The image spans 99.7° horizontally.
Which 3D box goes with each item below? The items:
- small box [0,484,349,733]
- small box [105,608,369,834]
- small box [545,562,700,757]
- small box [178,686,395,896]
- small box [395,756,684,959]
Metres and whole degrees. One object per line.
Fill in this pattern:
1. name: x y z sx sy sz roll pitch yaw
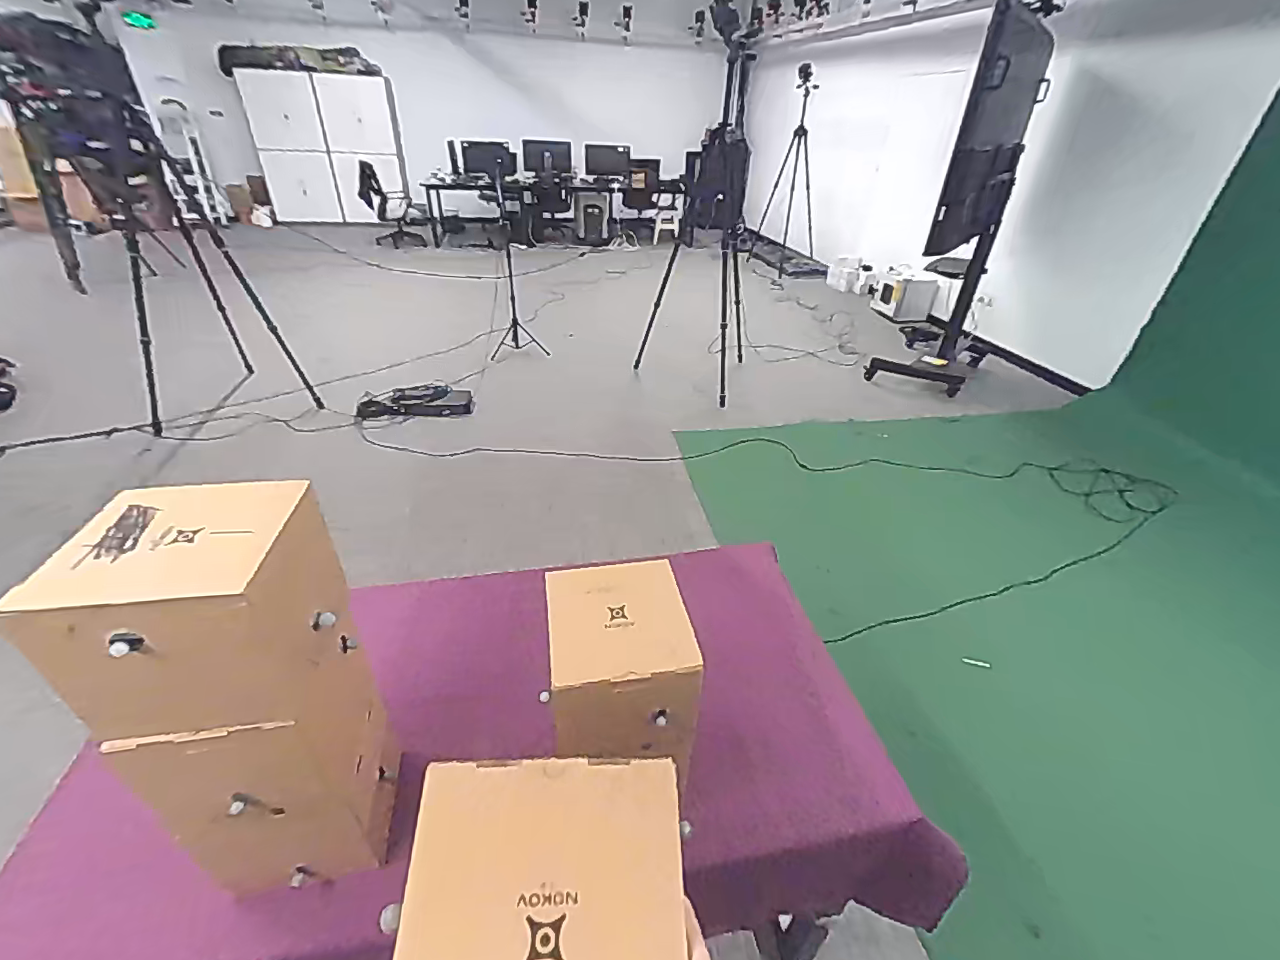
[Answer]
1. small box: -0.413 0.121 0.525 0.179 0.176 0.168 -3 34 -10
2. small box: -0.425 0.259 0.614 0.168 0.176 0.179 -5 34 -10
3. small box: -0.030 0.231 0.687 0.168 0.176 0.179 -4 34 -11
4. small box: -0.431 0.399 0.702 0.179 0.176 0.168 -5 34 -12
5. small box: -0.066 0.304 0.378 0.168 0.176 0.179 3 53 -9
